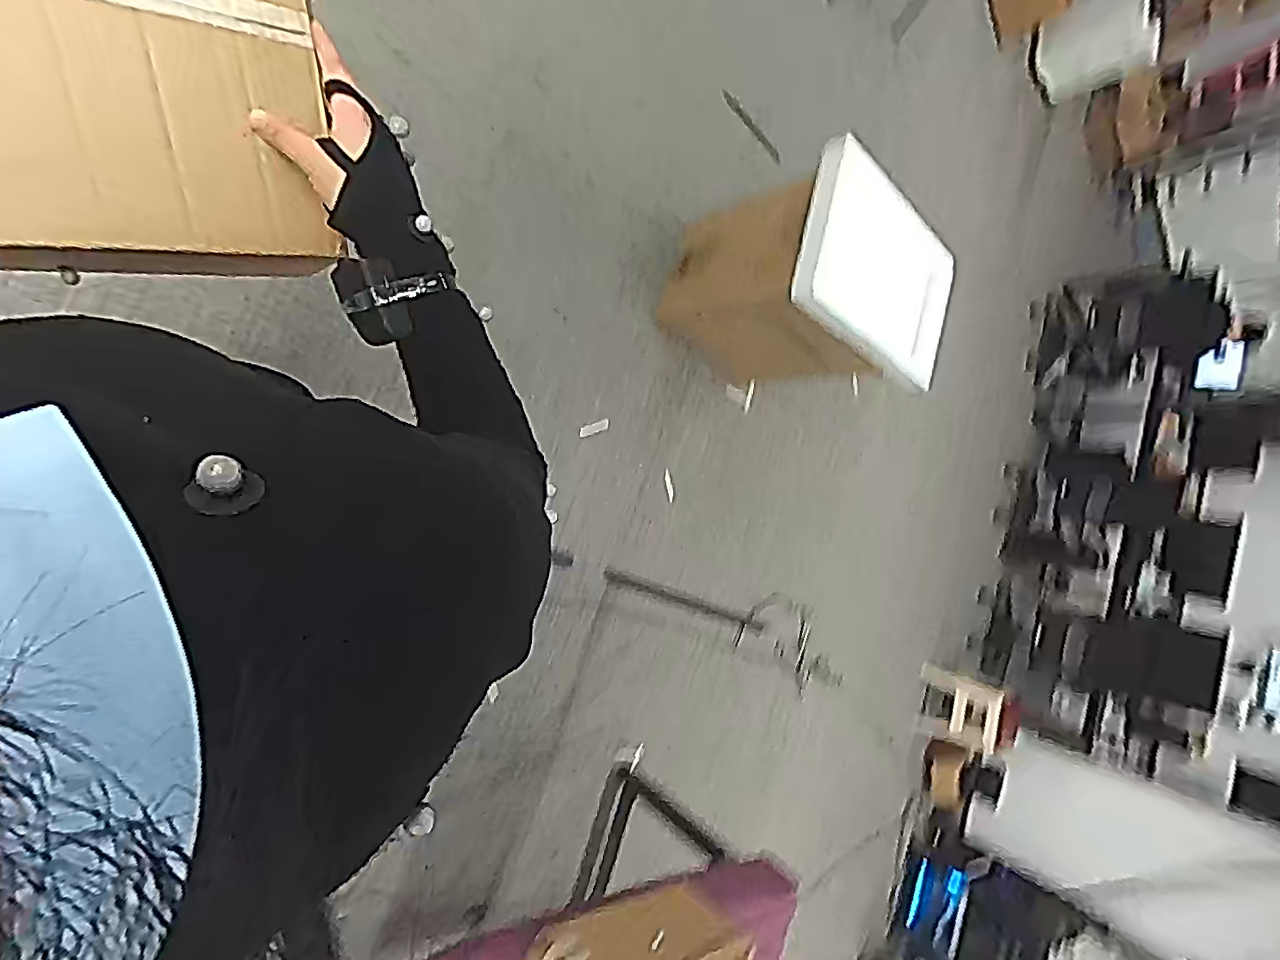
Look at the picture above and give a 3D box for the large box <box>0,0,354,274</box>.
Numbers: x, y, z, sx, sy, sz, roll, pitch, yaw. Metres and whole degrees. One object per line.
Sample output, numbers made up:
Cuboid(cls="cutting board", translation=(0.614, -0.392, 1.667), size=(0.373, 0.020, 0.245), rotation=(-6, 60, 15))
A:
Cuboid(cls="large box", translation=(-0.489, -0.332, 0.421), size=(0.408, 0.320, 0.320), rotation=(-12, 110, -33))
